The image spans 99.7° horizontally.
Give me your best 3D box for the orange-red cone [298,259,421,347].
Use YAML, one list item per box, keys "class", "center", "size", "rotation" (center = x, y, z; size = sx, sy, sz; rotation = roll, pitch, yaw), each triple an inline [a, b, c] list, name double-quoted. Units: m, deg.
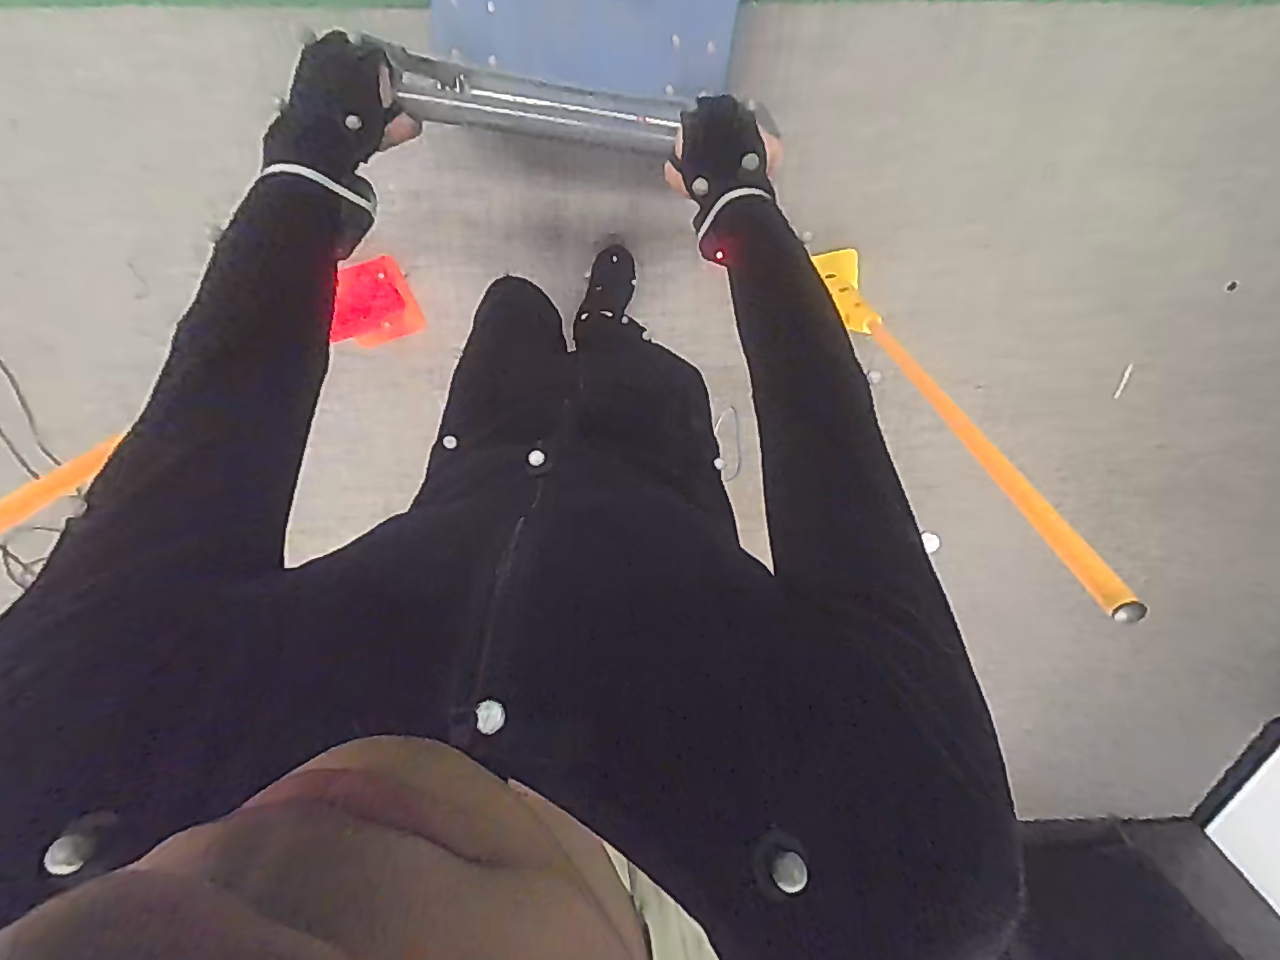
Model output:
- class: "orange-red cone"
  center: [-0.694, -0.377, 1.269]
  size: [0.199, 0.360, 0.198]
  rotation: [-14, 119, 7]
